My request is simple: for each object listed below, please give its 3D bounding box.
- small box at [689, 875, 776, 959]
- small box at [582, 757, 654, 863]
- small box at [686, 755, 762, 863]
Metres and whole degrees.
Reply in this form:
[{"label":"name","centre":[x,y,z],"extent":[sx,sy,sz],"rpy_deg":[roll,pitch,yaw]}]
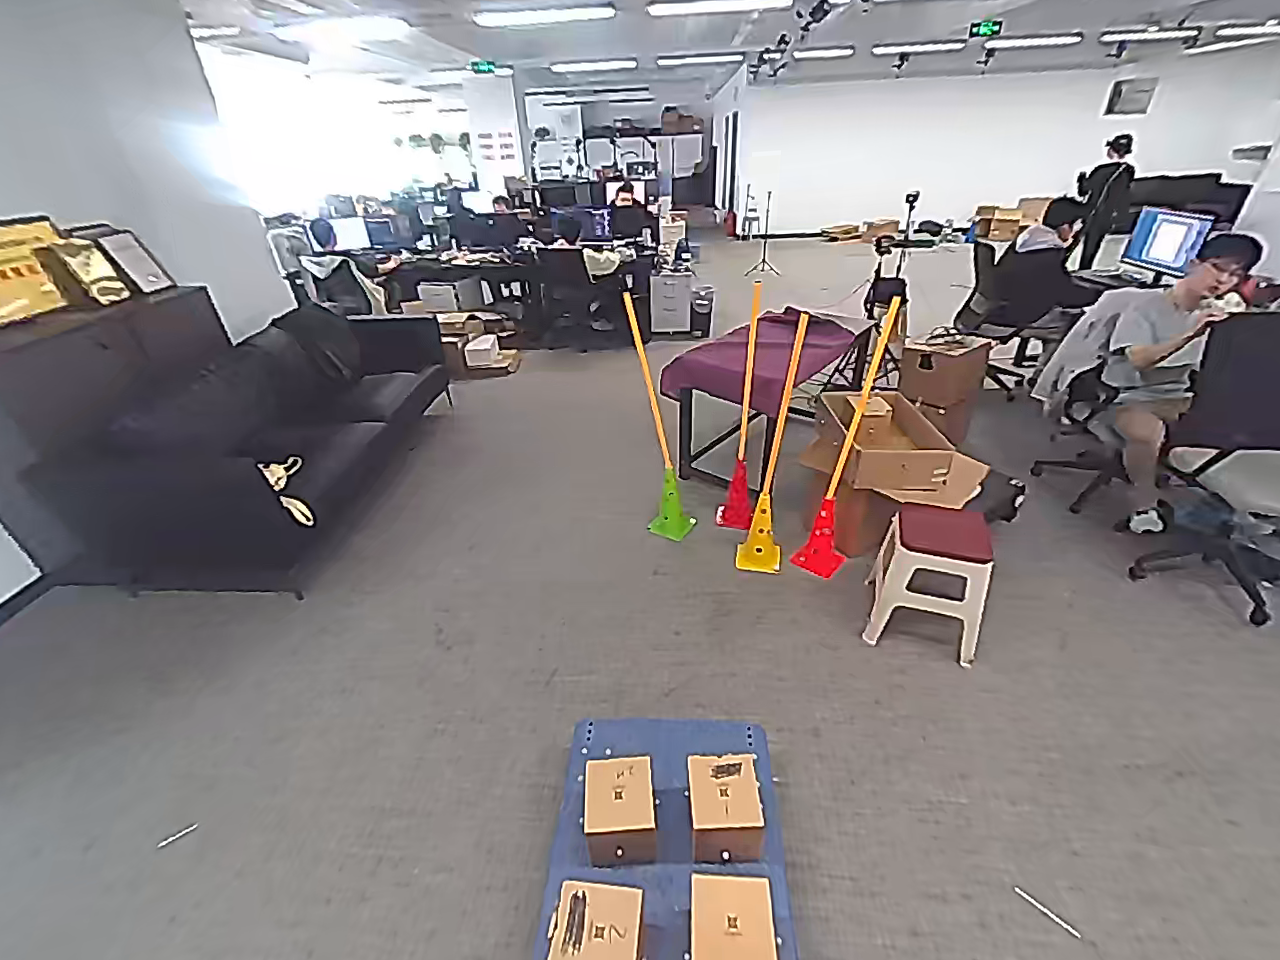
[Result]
[{"label":"small box","centre":[0.185,0.963,1.123],"extent":[0.168,0.176,0.179],"rpy_deg":[0,32,4]},{"label":"small box","centre":[-0.053,0.830,1.354],"extent":[0.168,0.176,0.179],"rpy_deg":[-3,32,-2]},{"label":"small box","centre":[0.202,0.820,1.350],"extent":[0.168,0.176,0.179],"rpy_deg":[-3,33,1]}]
